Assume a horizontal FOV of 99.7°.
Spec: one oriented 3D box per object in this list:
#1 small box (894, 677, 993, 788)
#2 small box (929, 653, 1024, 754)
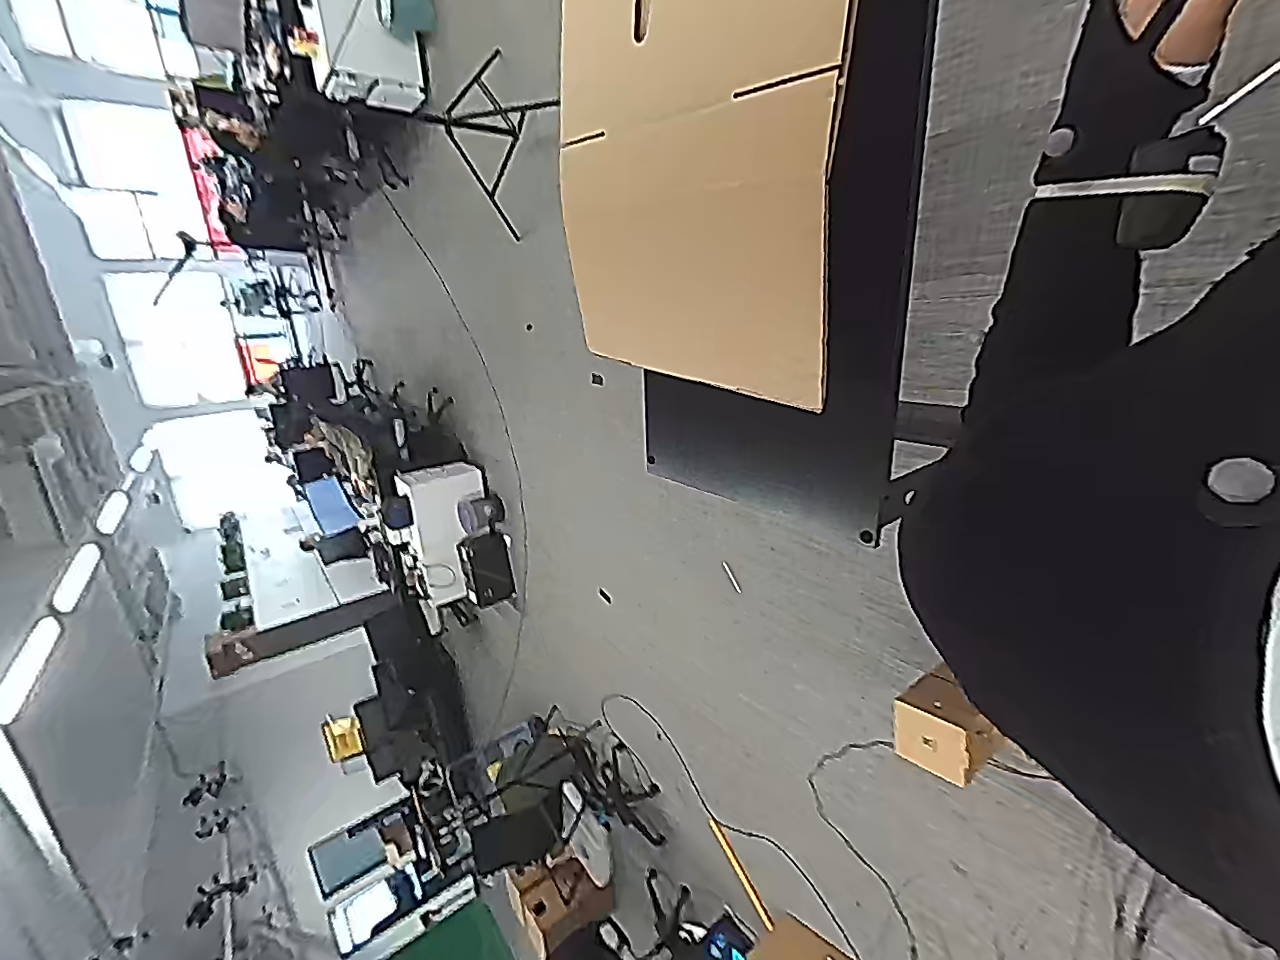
[{"bbox_3d":[0.784,0.638,1.396,0.179,0.176,0.168,11,111,54],"label":"small box"},{"bbox_3d":[0.916,0.601,1.483,0.179,0.176,0.168,14,114,51],"label":"small box"}]
